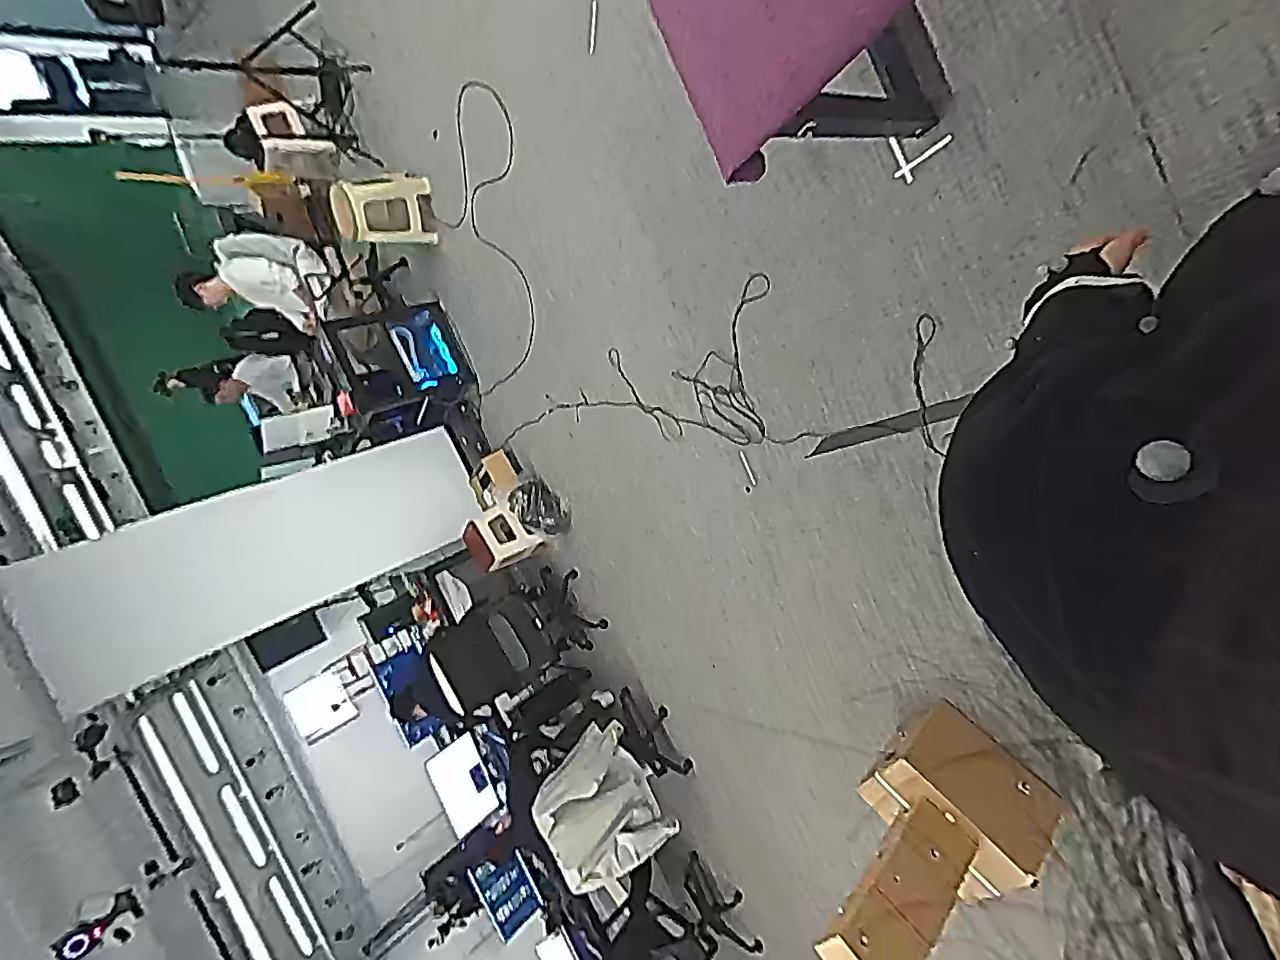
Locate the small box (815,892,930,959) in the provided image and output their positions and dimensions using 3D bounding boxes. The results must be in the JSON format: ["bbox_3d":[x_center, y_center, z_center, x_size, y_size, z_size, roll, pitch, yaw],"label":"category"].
[{"bbox_3d":[0.586,1.190,1.369,0.179,0.176,0.168,41,139,29],"label":"small box"}]

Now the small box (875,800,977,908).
[{"bbox_3d":[0.827,1.075,1.562,0.179,0.176,0.168,41,138,30],"label":"small box"}]
